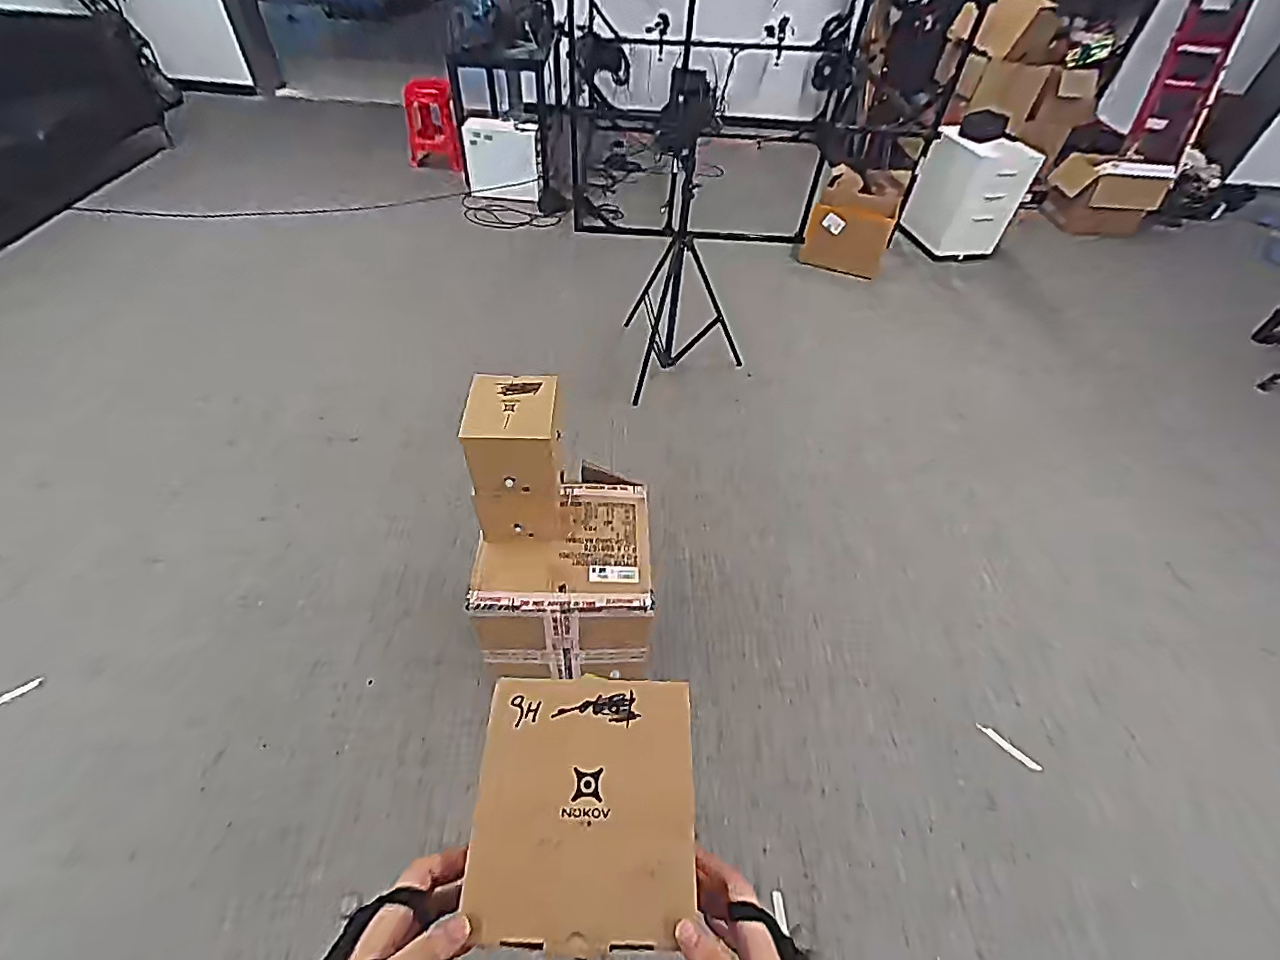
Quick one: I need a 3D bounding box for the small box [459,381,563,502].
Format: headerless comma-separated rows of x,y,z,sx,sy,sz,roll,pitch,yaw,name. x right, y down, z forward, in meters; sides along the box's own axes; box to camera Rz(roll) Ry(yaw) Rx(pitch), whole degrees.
-0.245,-0.076,1.075,0.168,0.176,0.179,0,50,-2,small box

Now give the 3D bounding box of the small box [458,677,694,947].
-0.042,0.284,0.476,0.168,0.176,0.179,1,55,-1,small box

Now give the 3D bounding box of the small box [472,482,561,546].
-0.266,0.027,1.202,0.168,0.176,0.179,-3,50,-4,small box
